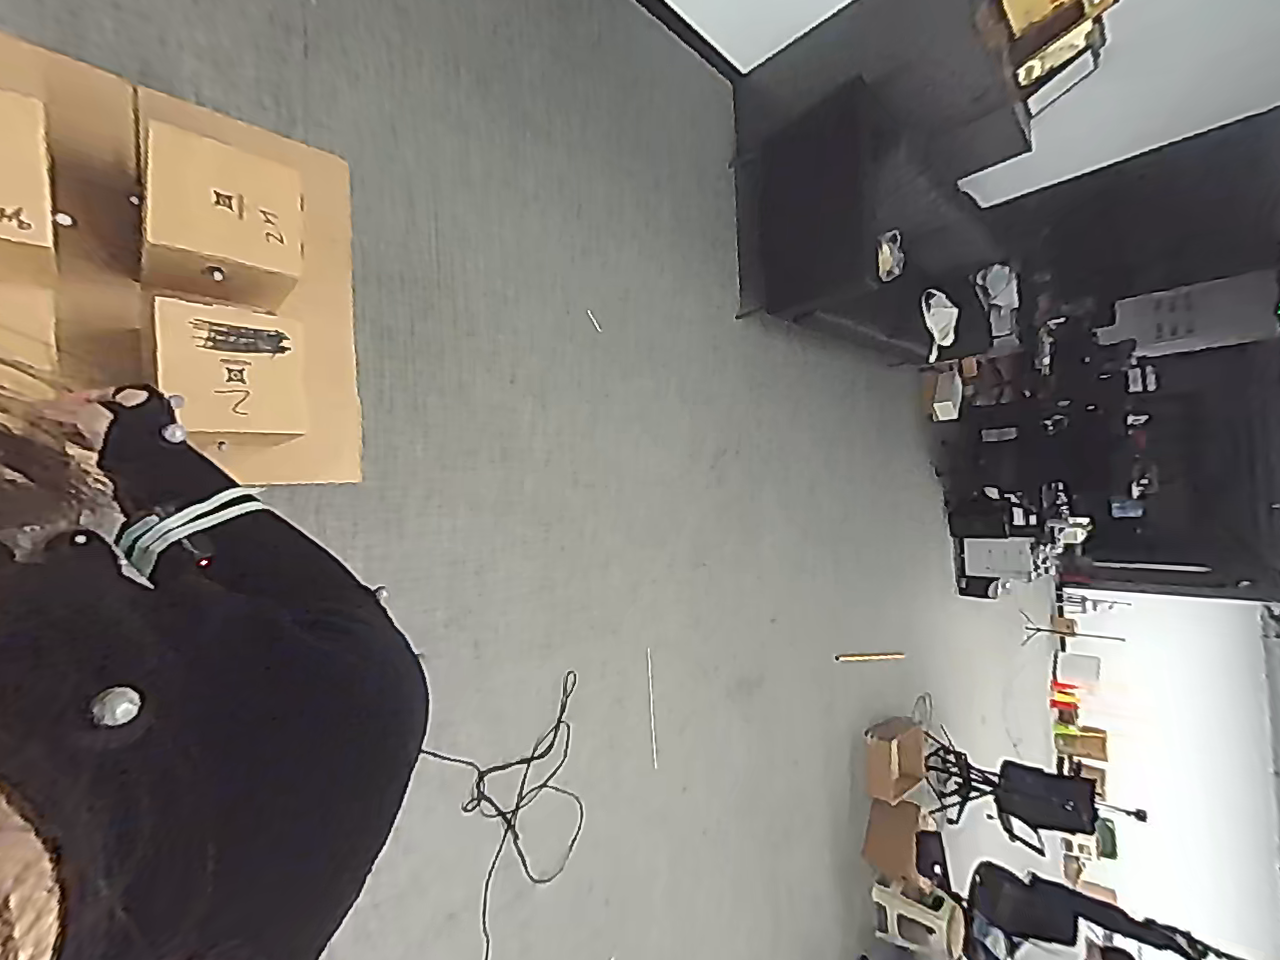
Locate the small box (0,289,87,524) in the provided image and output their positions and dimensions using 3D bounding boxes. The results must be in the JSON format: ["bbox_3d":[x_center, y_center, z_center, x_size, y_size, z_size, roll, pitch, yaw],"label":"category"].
[{"bbox_3d":[-0.617,-0.054,0.474,0.168,0.176,0.179,-10,80,-45],"label":"small box"}]

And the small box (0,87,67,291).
[{"bbox_3d":[-0.791,-0.344,0.626,0.168,0.176,0.179,-3,88,-44],"label":"small box"}]
